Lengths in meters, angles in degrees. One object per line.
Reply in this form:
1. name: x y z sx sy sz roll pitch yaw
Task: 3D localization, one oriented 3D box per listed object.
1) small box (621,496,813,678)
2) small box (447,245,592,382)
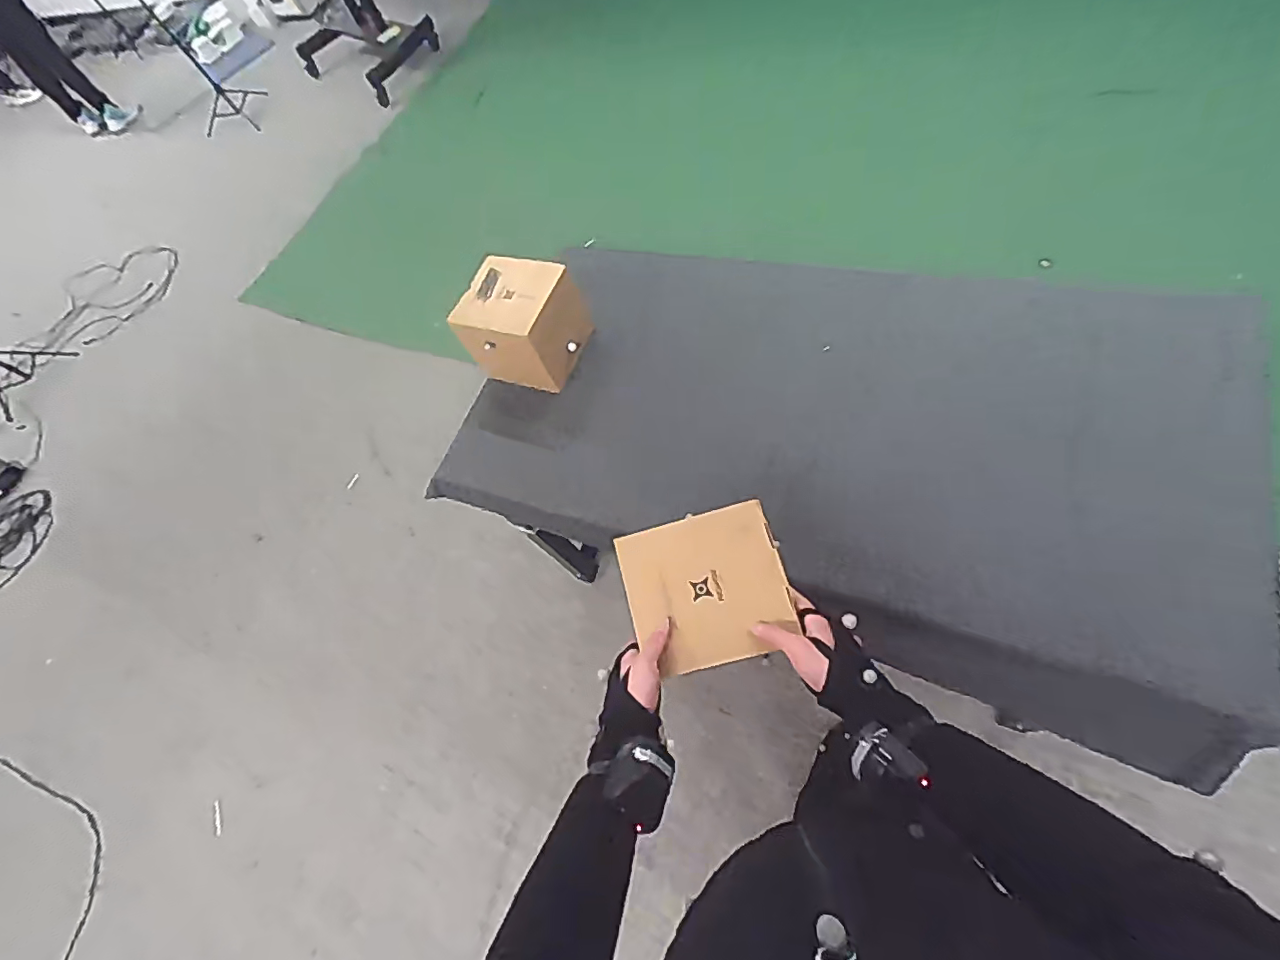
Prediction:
1. small box: 0.091 0.136 0.663 0.179 0.176 0.168 -16 70 6
2. small box: -0.214 -0.304 1.007 0.179 0.176 0.168 17 69 19
